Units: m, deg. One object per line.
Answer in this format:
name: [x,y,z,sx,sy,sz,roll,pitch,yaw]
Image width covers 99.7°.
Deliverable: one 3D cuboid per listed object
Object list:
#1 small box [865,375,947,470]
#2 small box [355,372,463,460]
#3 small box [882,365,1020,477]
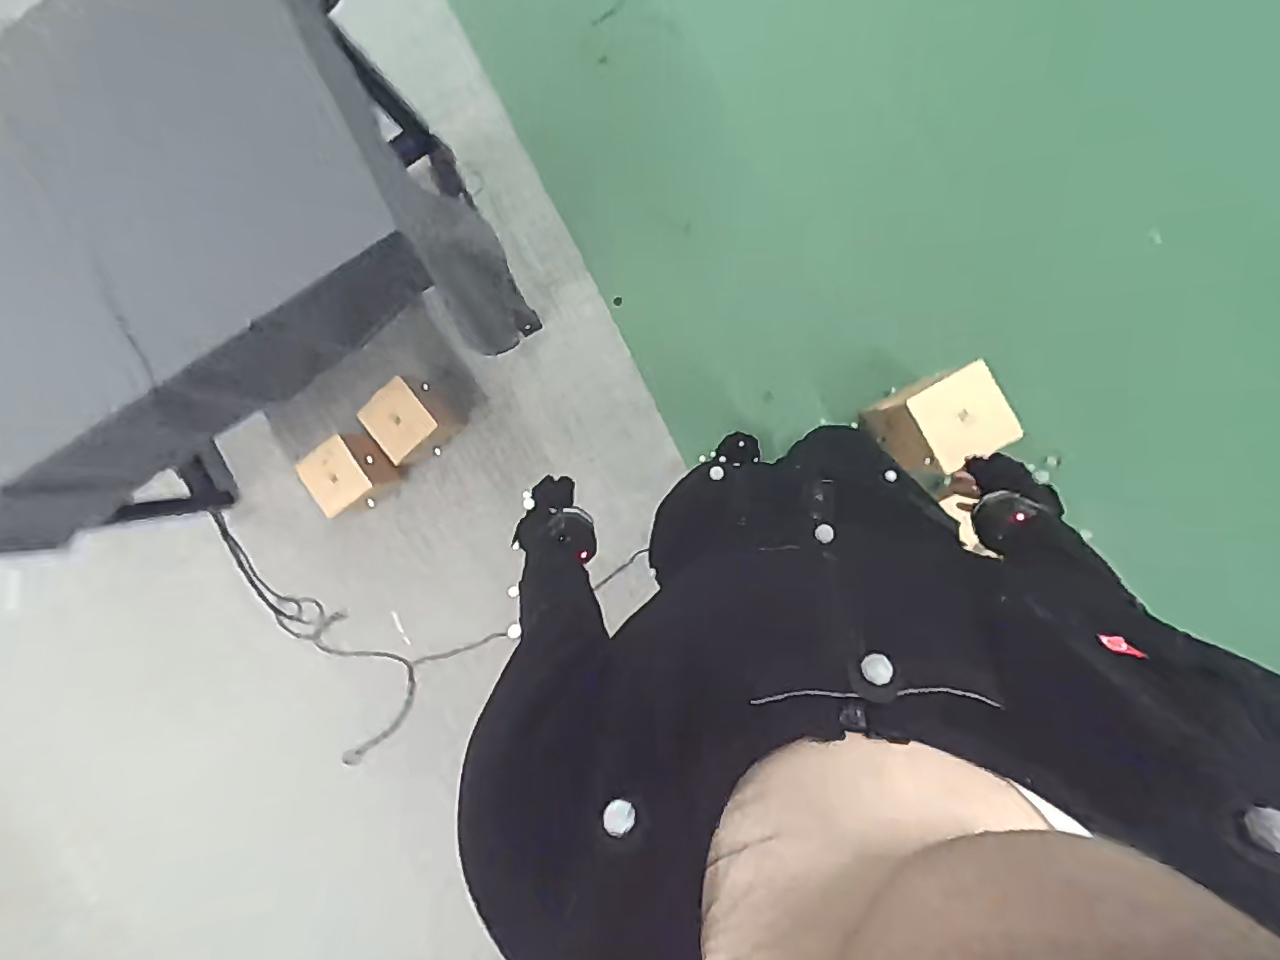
small box: [0.672,-0.136,1.321,0.179,0.176,0.168,-28,90,10]
small box: [-0.629,-0.170,1.489,0.168,0.176,0.179,-39,88,9]
small box: [0.653,-0.121,1.160,0.168,0.176,0.179,-29,90,8]
